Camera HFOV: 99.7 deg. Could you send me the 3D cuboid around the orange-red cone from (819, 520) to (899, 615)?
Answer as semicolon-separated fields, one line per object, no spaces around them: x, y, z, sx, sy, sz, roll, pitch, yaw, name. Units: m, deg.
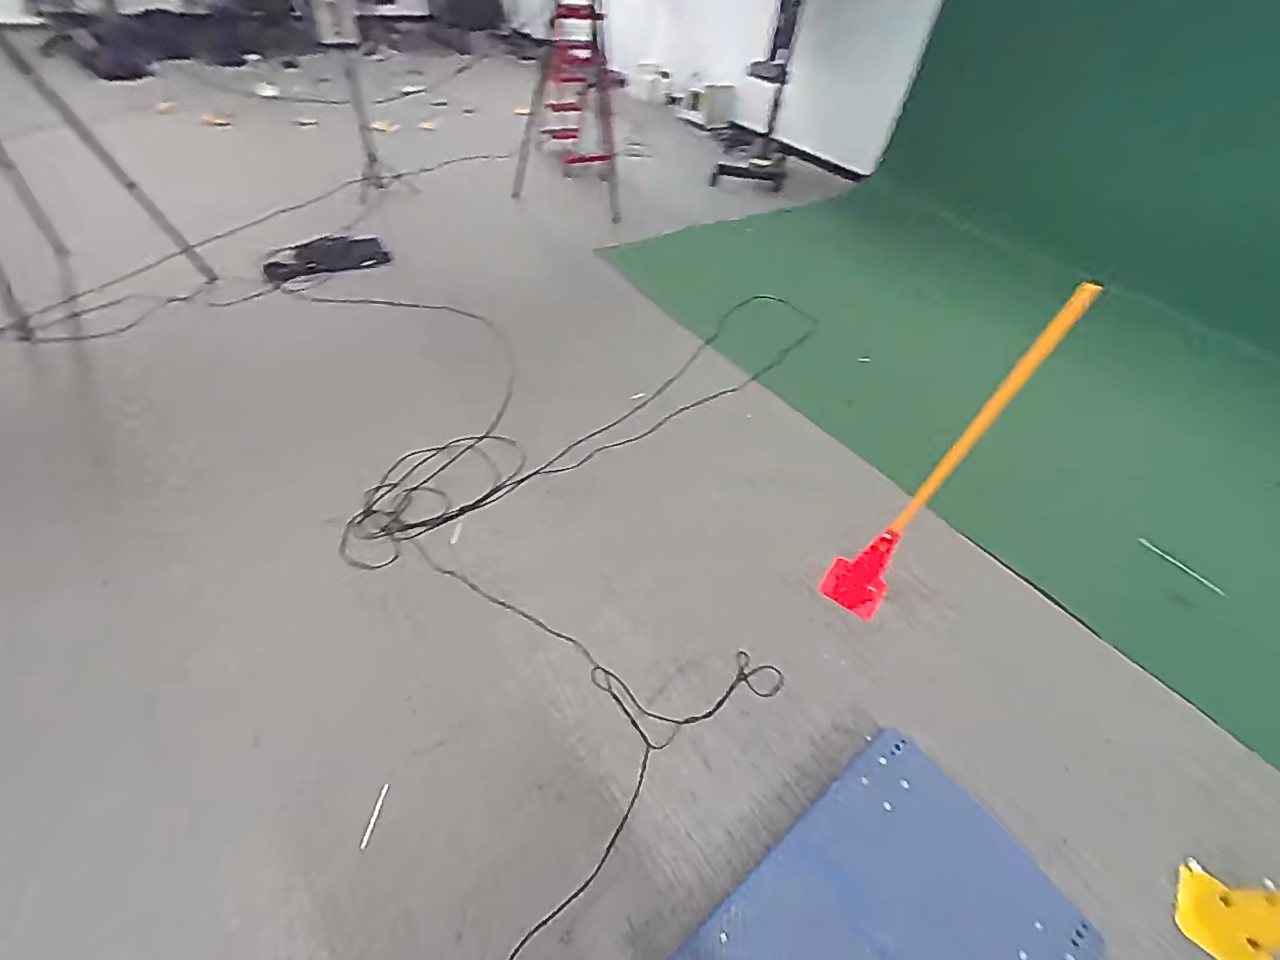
0.784;0.262;1.839;0.199;0.360;0.198;32;51;22;orange-red cone
